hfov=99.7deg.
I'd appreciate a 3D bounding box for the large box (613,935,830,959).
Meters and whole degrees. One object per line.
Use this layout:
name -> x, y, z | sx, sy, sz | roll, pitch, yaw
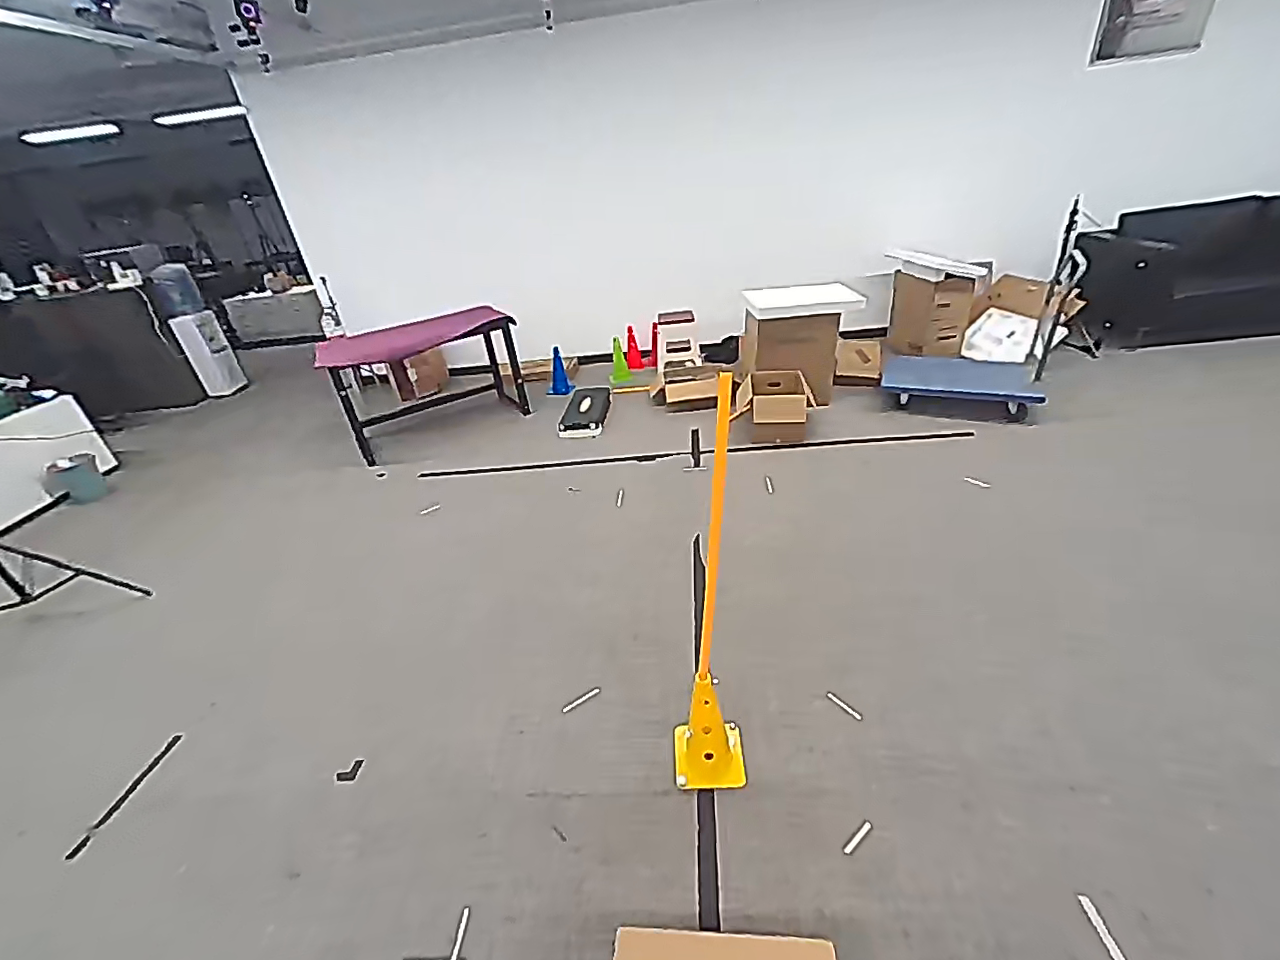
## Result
large box -> 0.155, 1.065, 0.953 | 0.408, 0.320, 0.320 | -3, 27, 6
